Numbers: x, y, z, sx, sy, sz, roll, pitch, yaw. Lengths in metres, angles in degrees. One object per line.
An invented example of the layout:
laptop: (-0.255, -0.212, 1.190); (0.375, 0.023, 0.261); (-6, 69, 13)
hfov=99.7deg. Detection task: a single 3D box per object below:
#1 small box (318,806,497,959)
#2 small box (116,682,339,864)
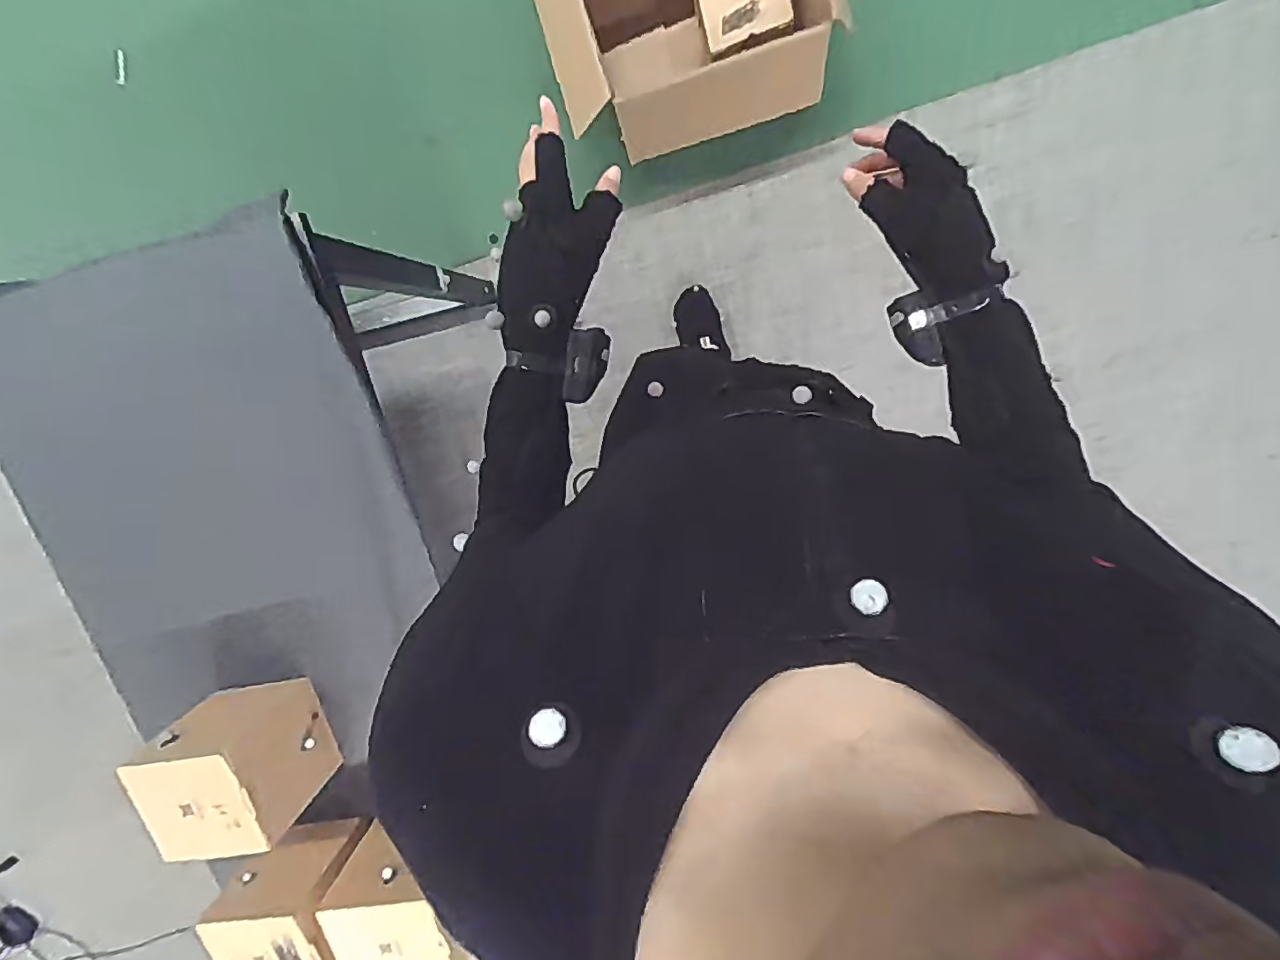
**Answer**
small box: (-0.350, 0.649, 0.845); (0.179, 0.176, 0.168); (-11, 103, 7)
small box: (-0.601, 0.430, 0.812); (0.179, 0.176, 0.168); (-11, 103, 7)
